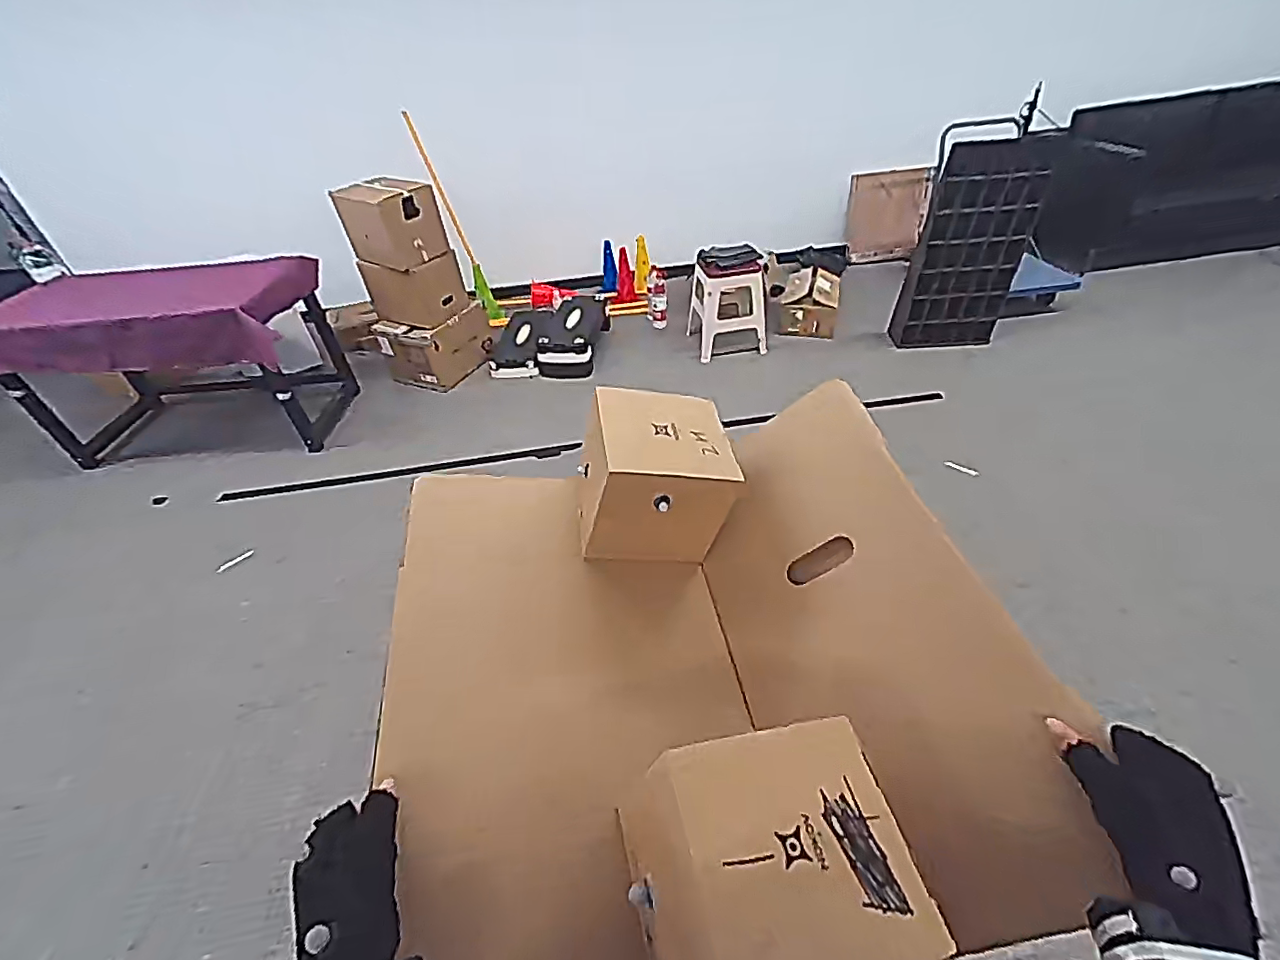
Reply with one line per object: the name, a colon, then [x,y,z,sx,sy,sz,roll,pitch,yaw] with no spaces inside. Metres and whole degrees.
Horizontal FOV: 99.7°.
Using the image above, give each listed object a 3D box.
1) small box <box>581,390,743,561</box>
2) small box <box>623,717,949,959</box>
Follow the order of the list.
small box: [0.016,-0.001,0.752,0.179,0.176,0.168,5,45,-16]
small box: [0.100,0.323,0.456,0.179,0.176,0.168,-1,47,-20]
